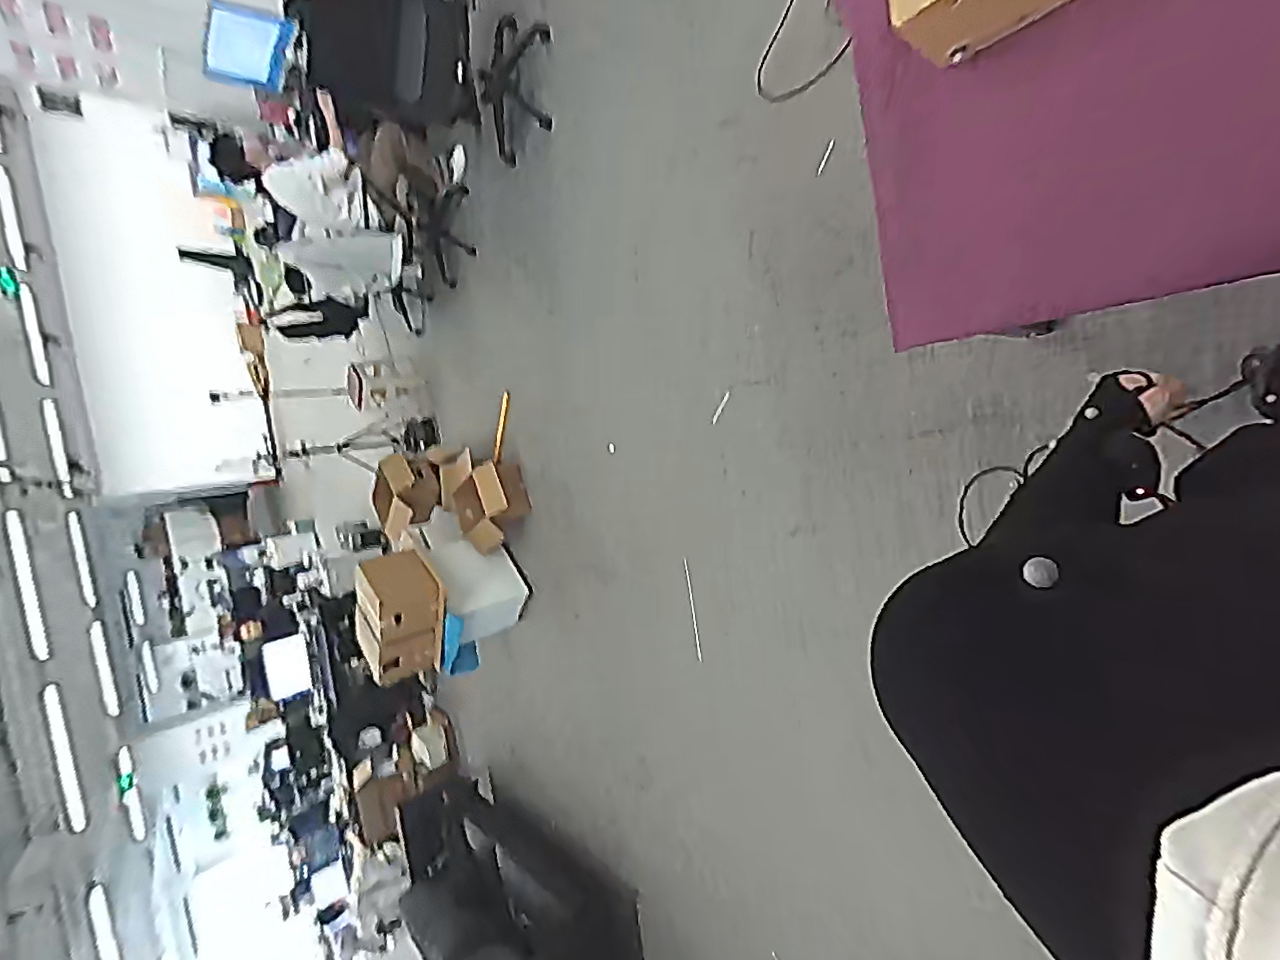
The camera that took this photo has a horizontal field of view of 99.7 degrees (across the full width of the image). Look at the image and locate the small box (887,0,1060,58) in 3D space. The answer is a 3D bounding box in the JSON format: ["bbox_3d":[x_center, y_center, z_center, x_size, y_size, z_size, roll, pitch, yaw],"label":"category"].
[{"bbox_3d":[0.419,-0.672,0.673,0.168,0.176,0.179,-3,98,48],"label":"small box"}]
